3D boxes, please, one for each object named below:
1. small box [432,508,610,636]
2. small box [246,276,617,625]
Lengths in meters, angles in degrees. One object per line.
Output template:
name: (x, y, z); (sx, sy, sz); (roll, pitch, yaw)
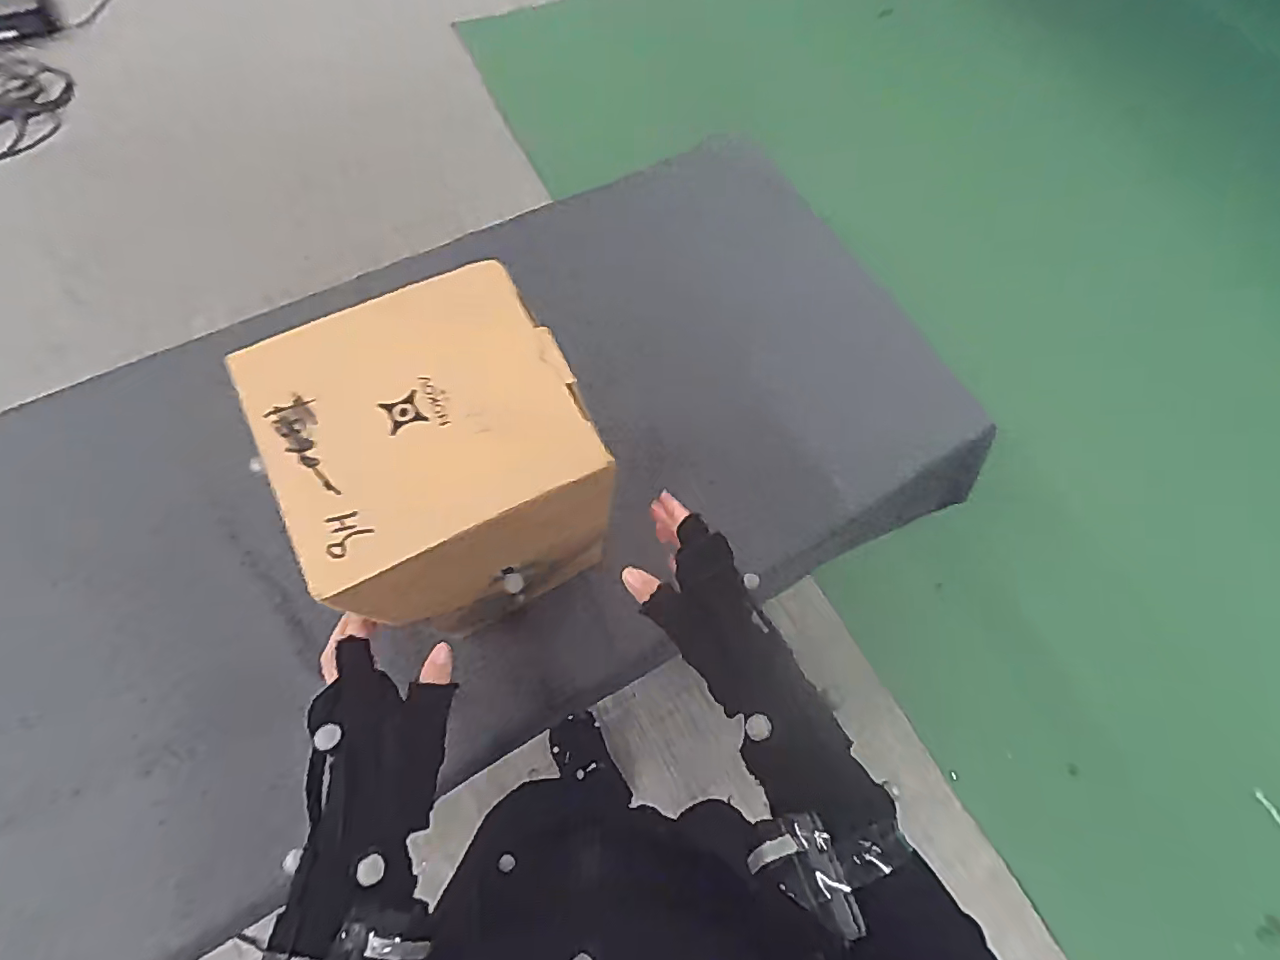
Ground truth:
small box: (-0.151, 0.041, 0.557); (0.179, 0.176, 0.168); (-31, 76, -17)
small box: (-0.135, -0.010, 0.403); (0.179, 0.176, 0.168); (-26, 74, -15)
